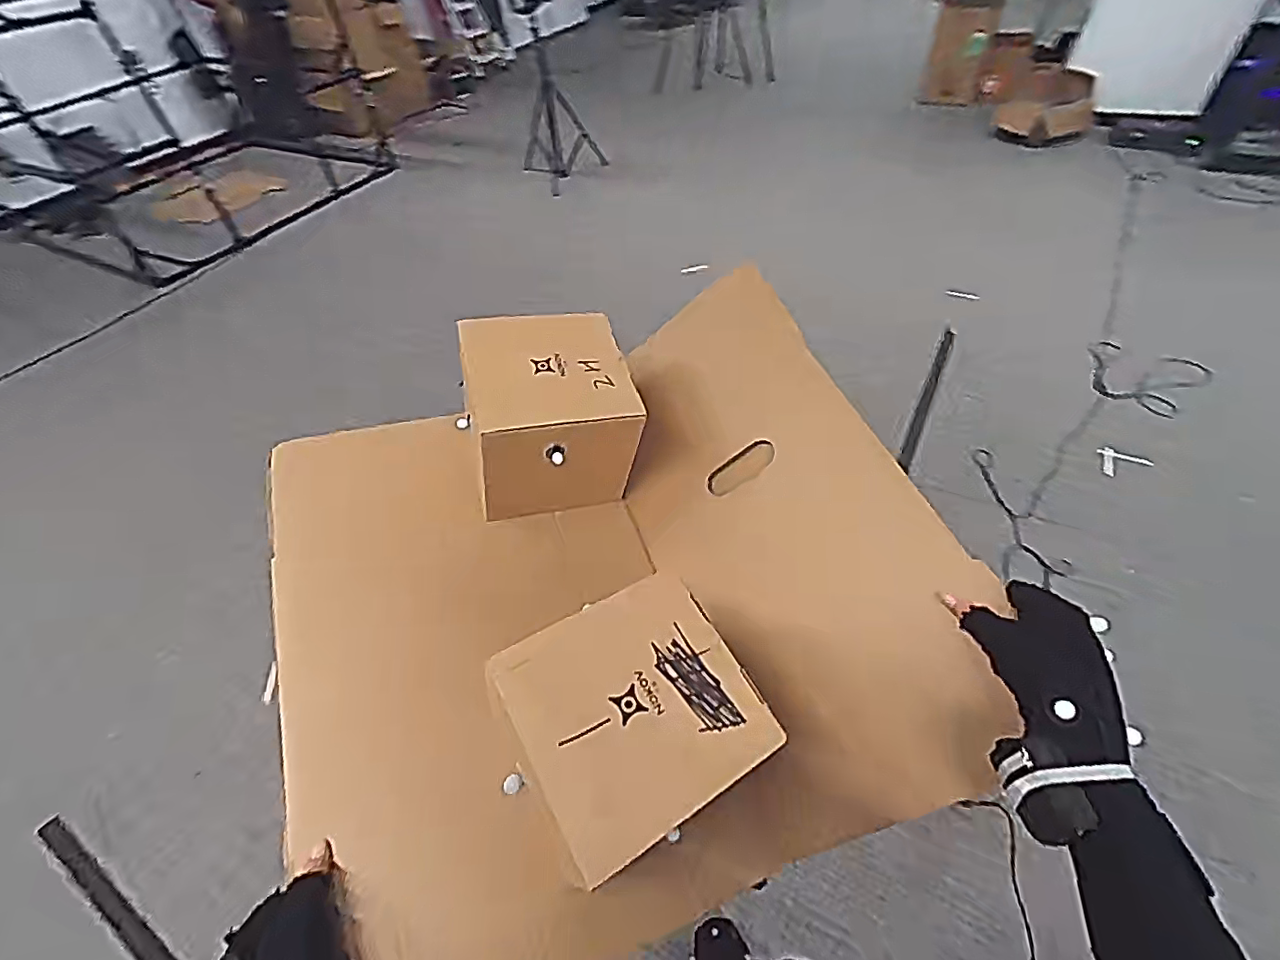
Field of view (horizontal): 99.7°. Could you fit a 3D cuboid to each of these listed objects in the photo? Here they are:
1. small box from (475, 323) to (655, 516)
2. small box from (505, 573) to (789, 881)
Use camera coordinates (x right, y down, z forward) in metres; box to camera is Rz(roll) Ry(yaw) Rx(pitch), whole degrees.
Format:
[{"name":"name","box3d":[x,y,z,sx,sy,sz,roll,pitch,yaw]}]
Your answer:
[{"name":"small box","box3d":[-0.099,-0.071,0.662,0.179,0.176,0.168,-7,58,-19]},{"name":"small box","box3d":[-0.009,0.215,0.481,0.179,0.176,0.168,-21,62,-25]}]
